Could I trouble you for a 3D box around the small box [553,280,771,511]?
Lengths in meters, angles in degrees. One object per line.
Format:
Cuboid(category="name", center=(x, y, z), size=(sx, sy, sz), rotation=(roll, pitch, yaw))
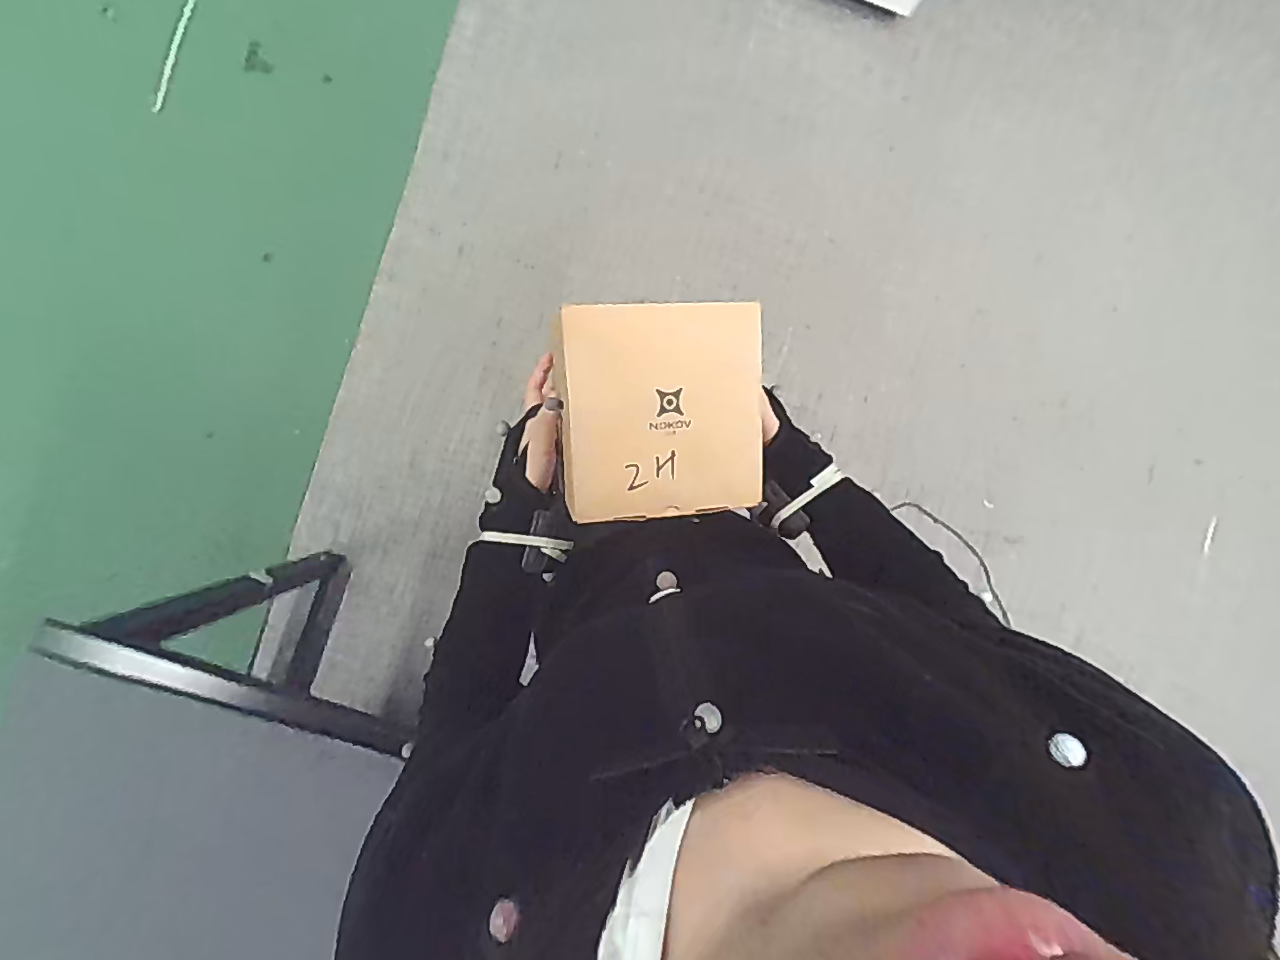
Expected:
Cuboid(category="small box", center=(0.009, -0.076, 0.501), size=(0.168, 0.176, 0.179), rotation=(-3, 99, -11))
